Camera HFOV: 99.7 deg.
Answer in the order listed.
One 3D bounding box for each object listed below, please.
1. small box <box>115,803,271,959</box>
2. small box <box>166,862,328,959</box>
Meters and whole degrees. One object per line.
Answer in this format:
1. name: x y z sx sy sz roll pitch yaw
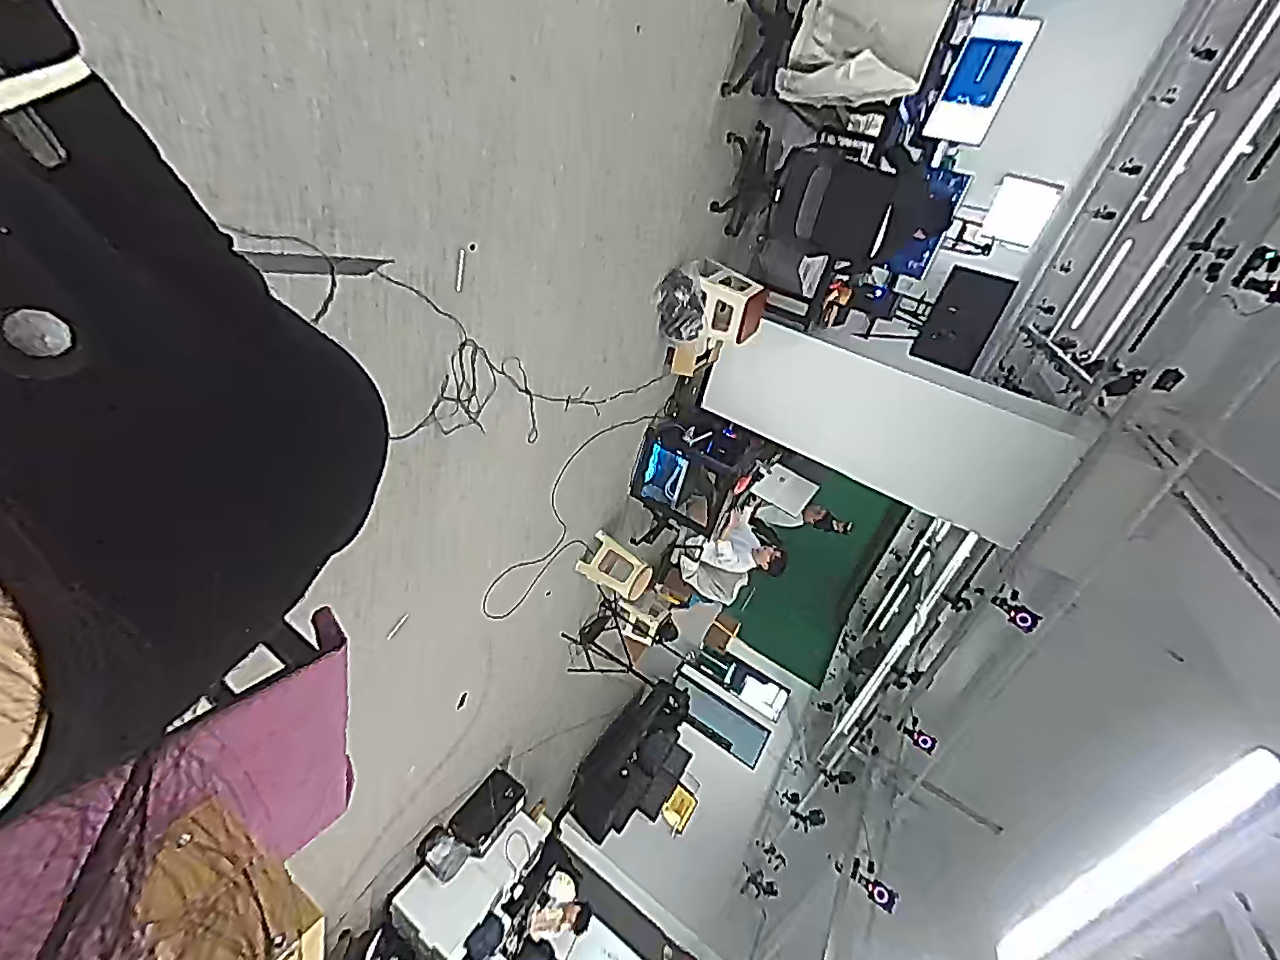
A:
1. small box: -0.806 0.741 0.985 0.168 0.176 0.179 -28 140 -56
2. small box: -0.670 0.813 0.928 0.168 0.176 0.179 -27 141 -56
